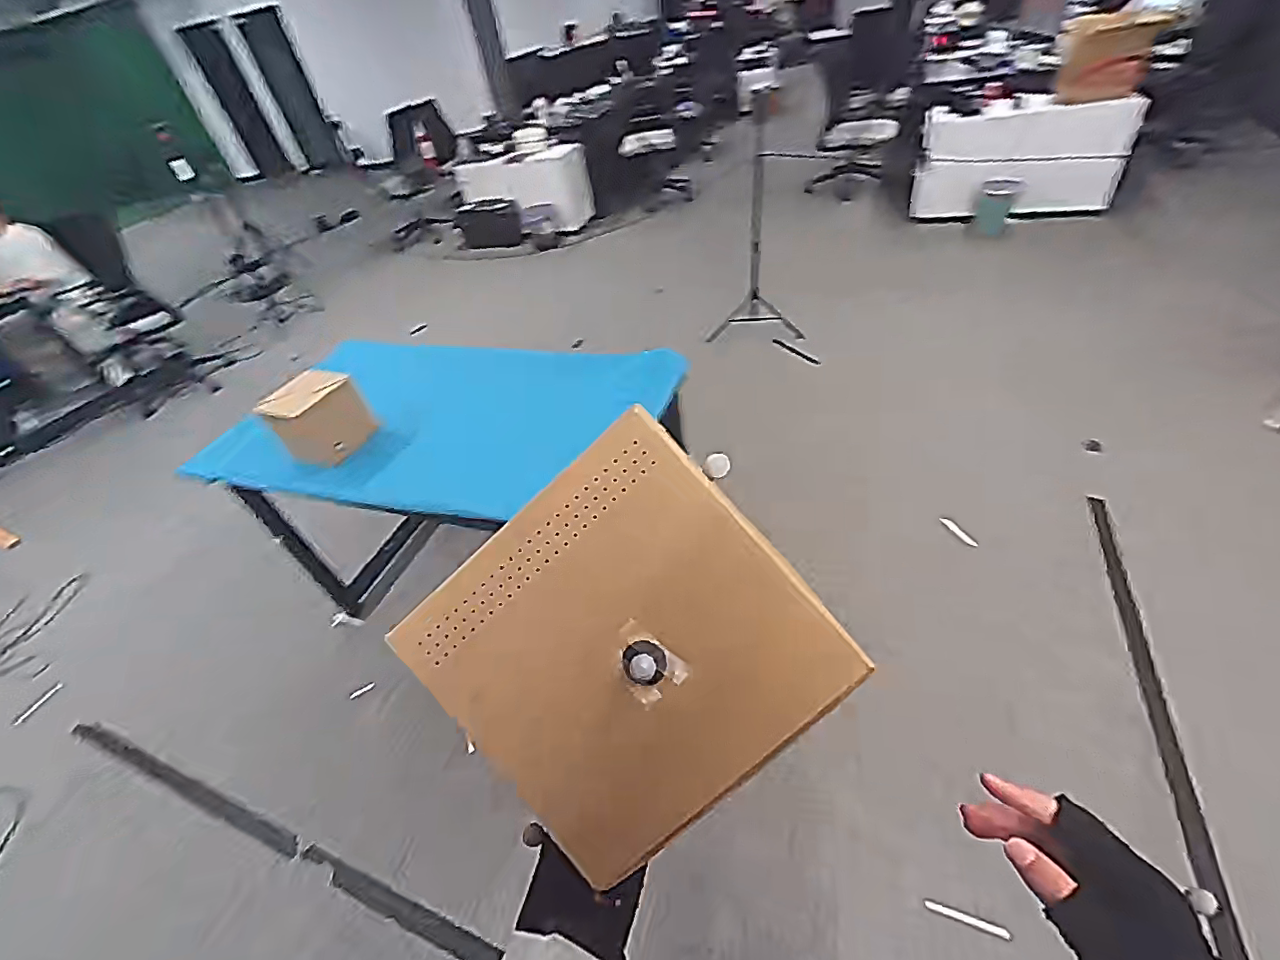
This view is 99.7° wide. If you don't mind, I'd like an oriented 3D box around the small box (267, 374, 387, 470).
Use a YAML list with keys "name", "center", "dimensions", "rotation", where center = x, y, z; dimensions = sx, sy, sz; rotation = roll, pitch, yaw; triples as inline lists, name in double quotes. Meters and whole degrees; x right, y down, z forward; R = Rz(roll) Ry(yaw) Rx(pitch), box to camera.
- name: "small box"
  center: [-0.808, -0.155, 1.400]
  dimensions: [0.168, 0.176, 0.179]
  rotation: [12, 48, 24]

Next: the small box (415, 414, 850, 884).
- name: "small box"
  center: [-0.010, 0.084, 0.344]
  dimensions: [0.179, 0.168, 0.176]
  rotation: [-44, 87, 5]
